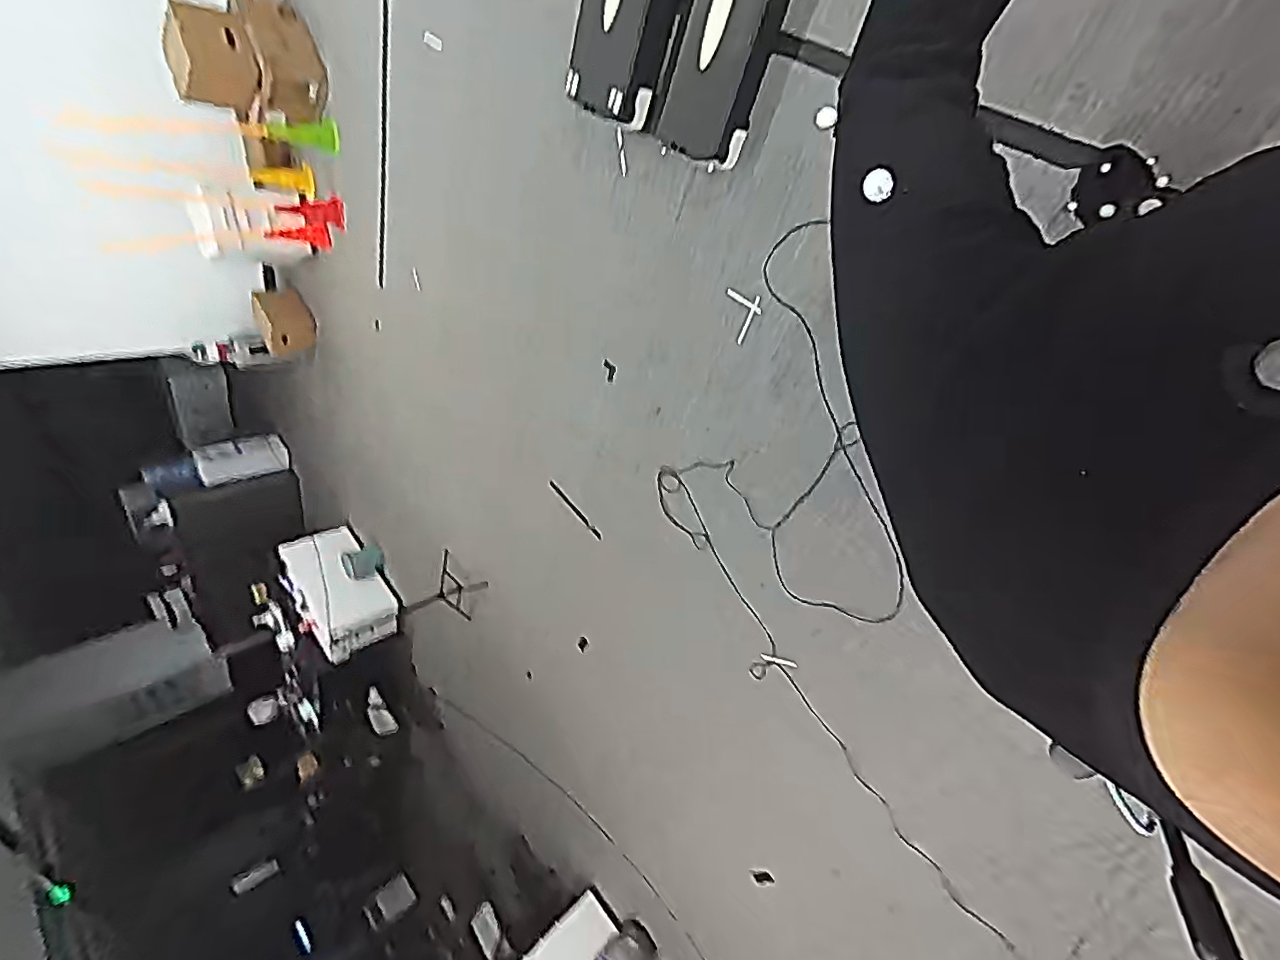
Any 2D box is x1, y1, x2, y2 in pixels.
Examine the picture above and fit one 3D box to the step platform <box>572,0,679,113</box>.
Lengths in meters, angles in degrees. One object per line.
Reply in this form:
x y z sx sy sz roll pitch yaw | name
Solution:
0.029 -1.441 1.487 0.286 0.204 0.684 42 130 26 | step platform
